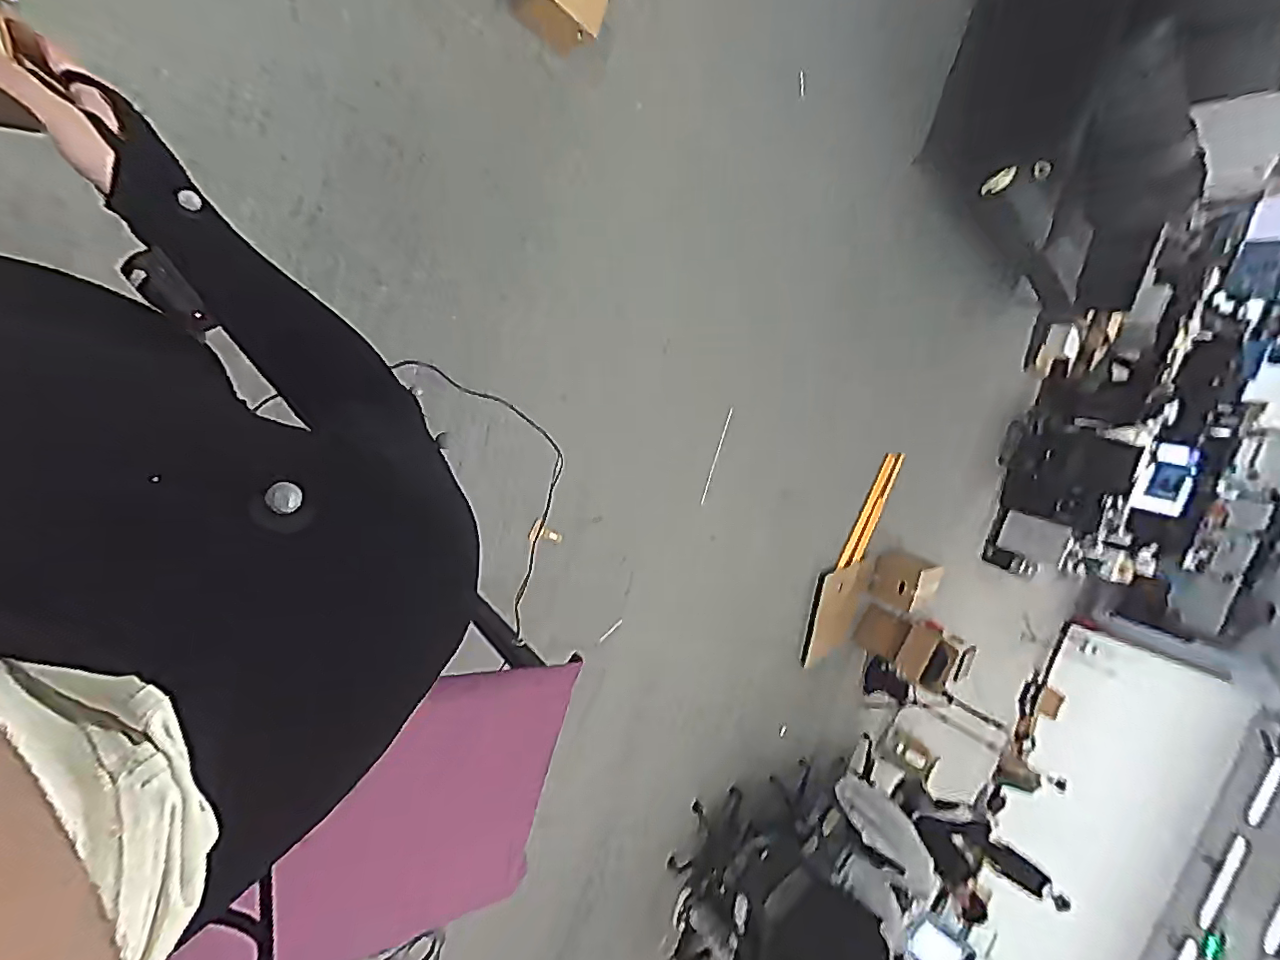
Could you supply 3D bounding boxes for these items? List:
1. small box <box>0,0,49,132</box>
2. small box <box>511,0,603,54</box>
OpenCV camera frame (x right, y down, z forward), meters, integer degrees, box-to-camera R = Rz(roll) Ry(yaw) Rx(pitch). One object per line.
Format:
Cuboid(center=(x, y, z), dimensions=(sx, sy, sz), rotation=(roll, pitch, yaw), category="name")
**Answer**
Cuboid(center=(-0.575, -0.372, 0.381), dimensions=(0.179, 0.176, 0.168), rotation=(-11, 111, -38), category="small box")
Cuboid(center=(-0.220, -1.297, 1.452), dimensions=(0.179, 0.176, 0.168), rotation=(10, 99, -44), category="small box")
